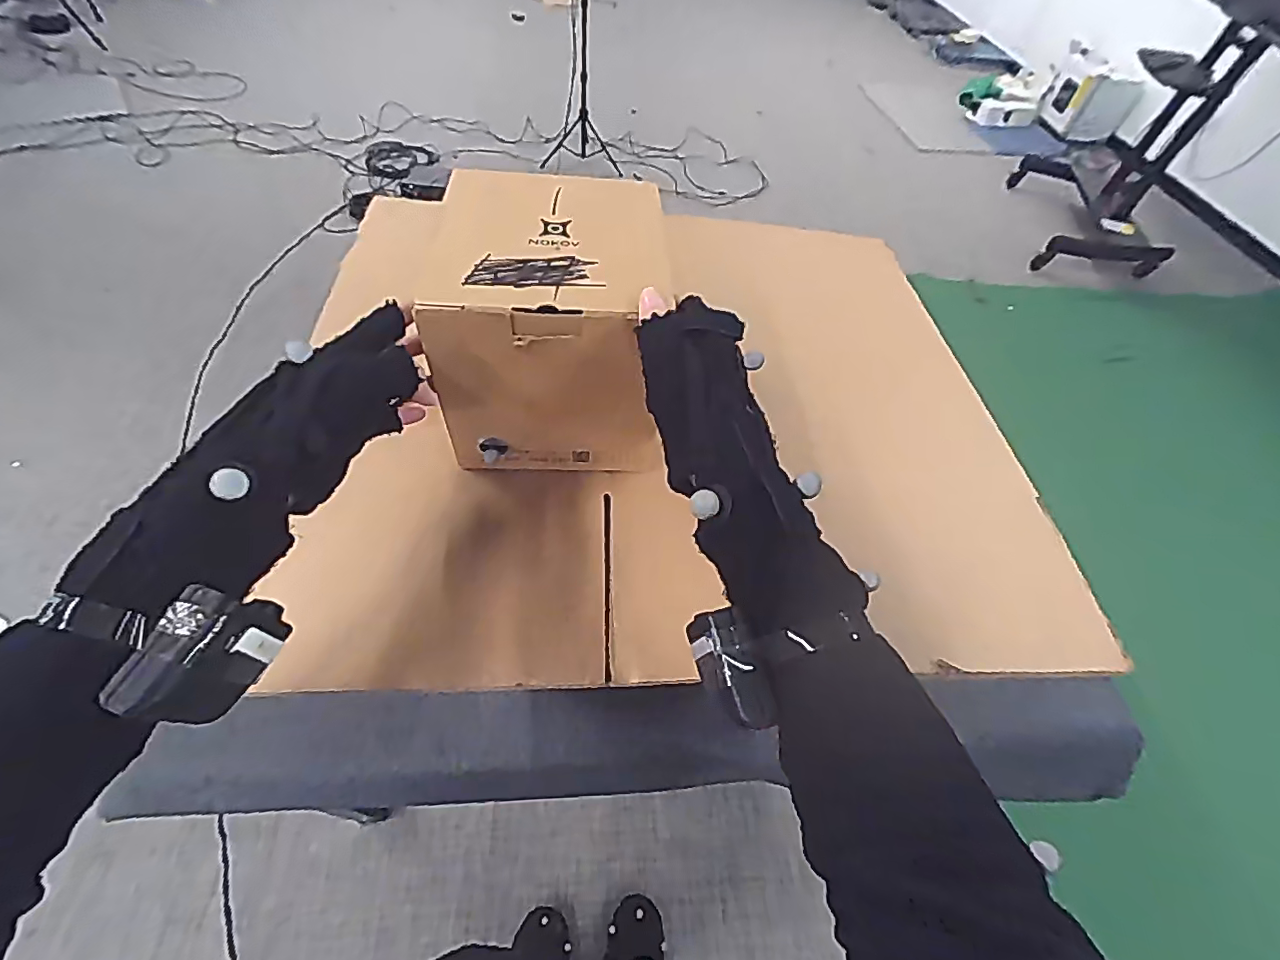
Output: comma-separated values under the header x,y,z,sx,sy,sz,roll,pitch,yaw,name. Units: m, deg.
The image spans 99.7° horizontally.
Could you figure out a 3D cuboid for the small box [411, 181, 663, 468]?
x,y,z,sx,sy,sz,roll,pitch,yaw,name
-0.074,-0.124,0.460,0.168,0.176,0.179,1,53,-6,small box
